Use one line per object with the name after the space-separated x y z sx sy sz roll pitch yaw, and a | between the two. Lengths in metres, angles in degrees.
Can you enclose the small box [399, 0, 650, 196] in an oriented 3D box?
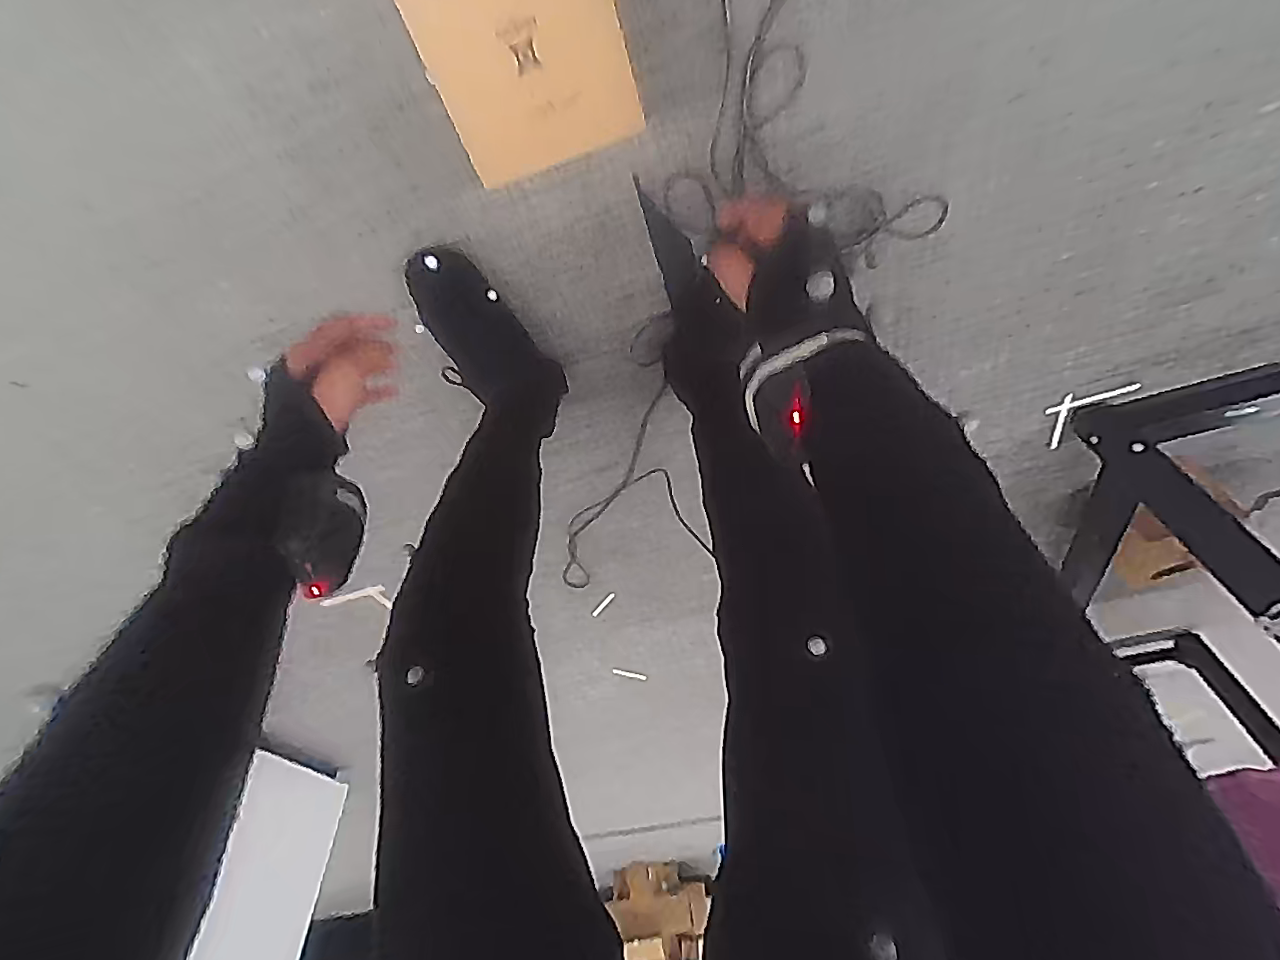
-0.095 -0.404 0.504 0.168 0.176 0.179 -14 134 10 | small box
